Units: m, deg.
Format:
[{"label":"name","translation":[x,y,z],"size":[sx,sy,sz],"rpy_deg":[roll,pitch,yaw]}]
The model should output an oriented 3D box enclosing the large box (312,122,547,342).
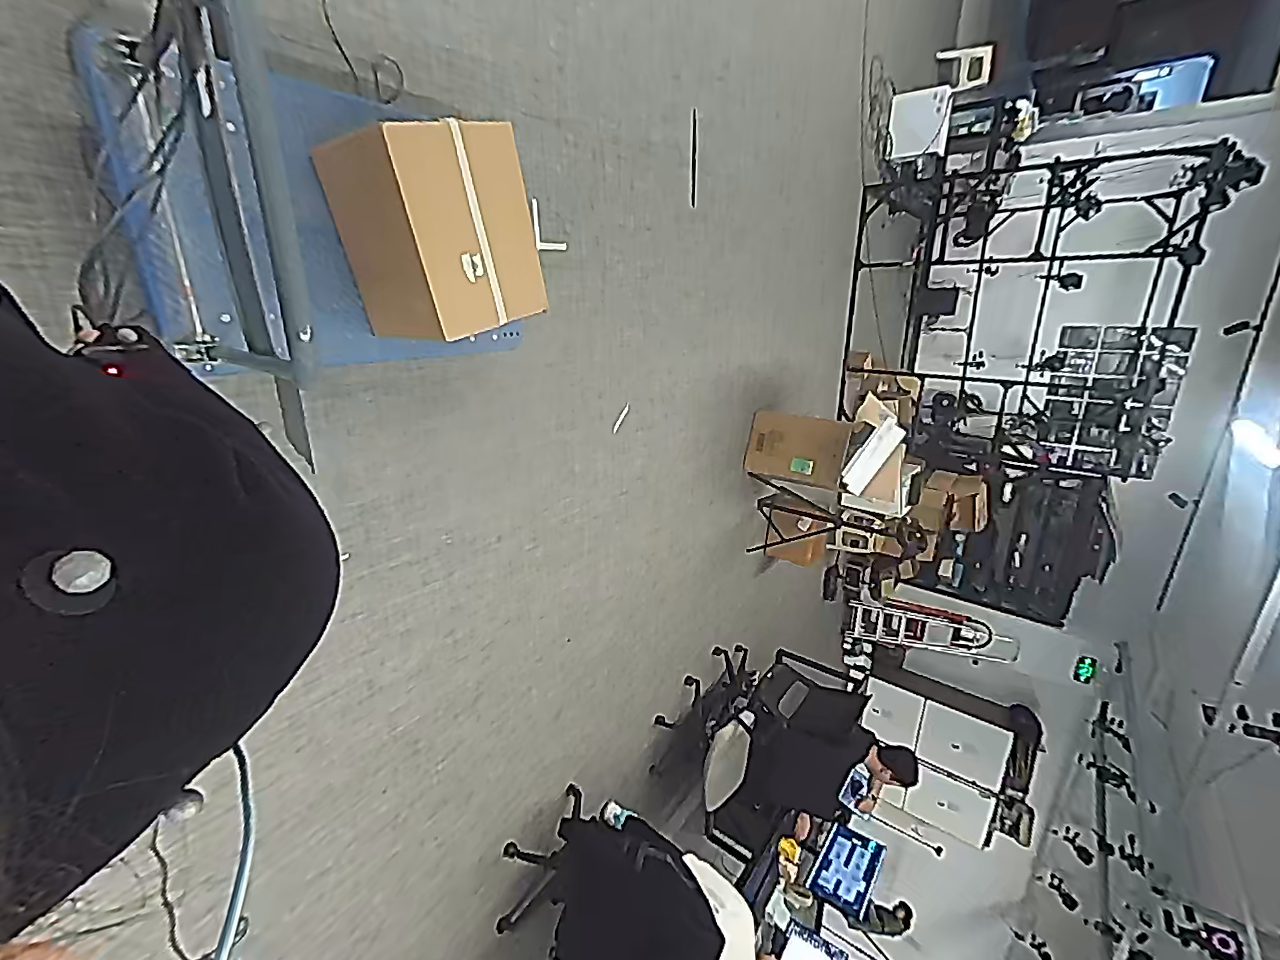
[{"label":"large box","translation":[-0.467,-0.565,1.250],"size":[0.320,0.320,0.408],"rpy_deg":[-36,129,-41]}]
